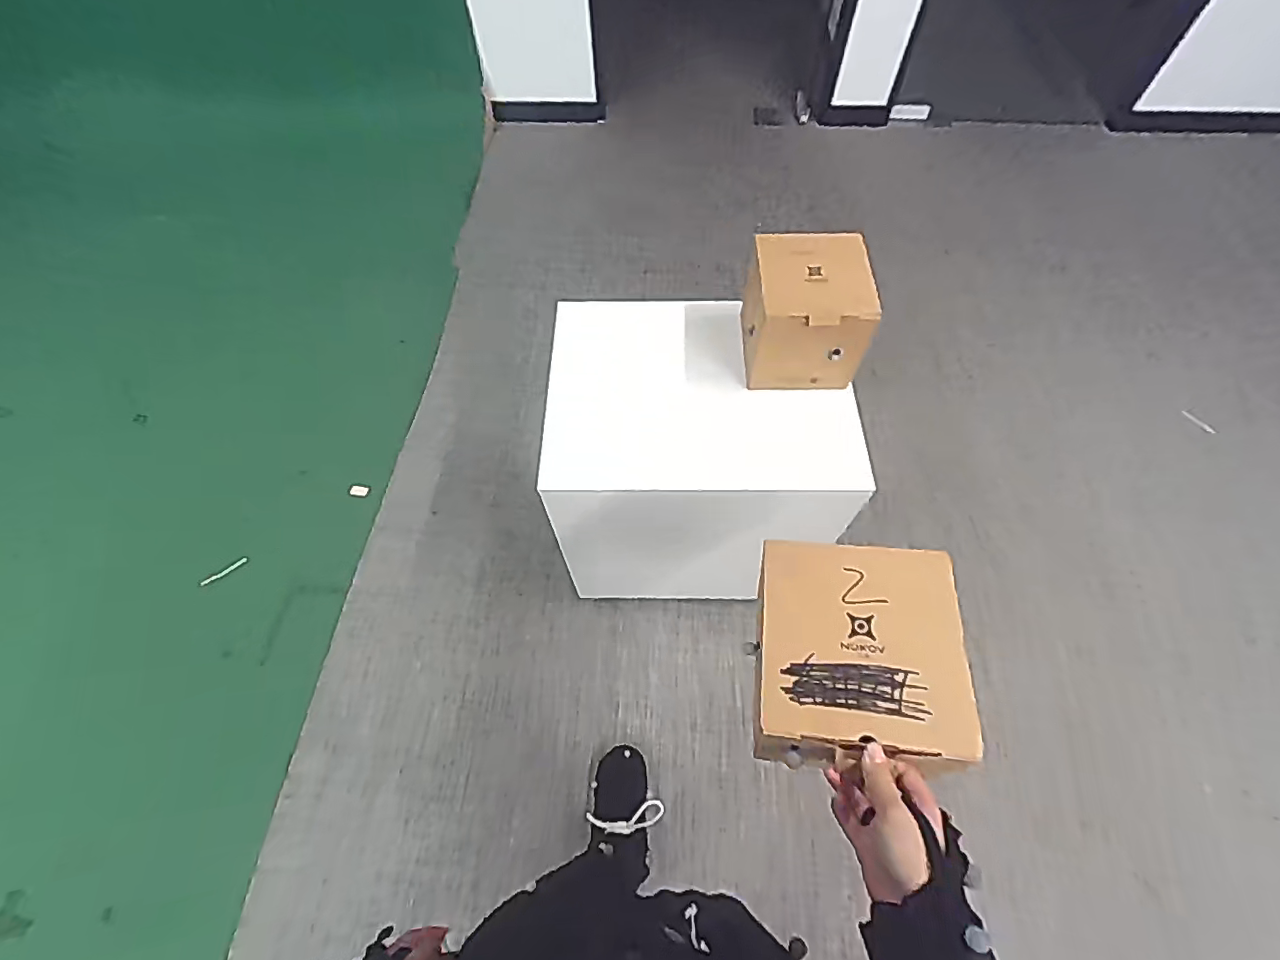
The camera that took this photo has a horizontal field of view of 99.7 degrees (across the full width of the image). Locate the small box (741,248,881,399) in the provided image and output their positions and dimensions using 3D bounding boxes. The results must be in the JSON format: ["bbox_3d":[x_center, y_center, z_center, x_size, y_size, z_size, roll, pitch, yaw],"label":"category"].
[{"bbox_3d":[0.260,-0.245,0.865,0.168,0.176,0.179,1,60,1],"label":"small box"}]
